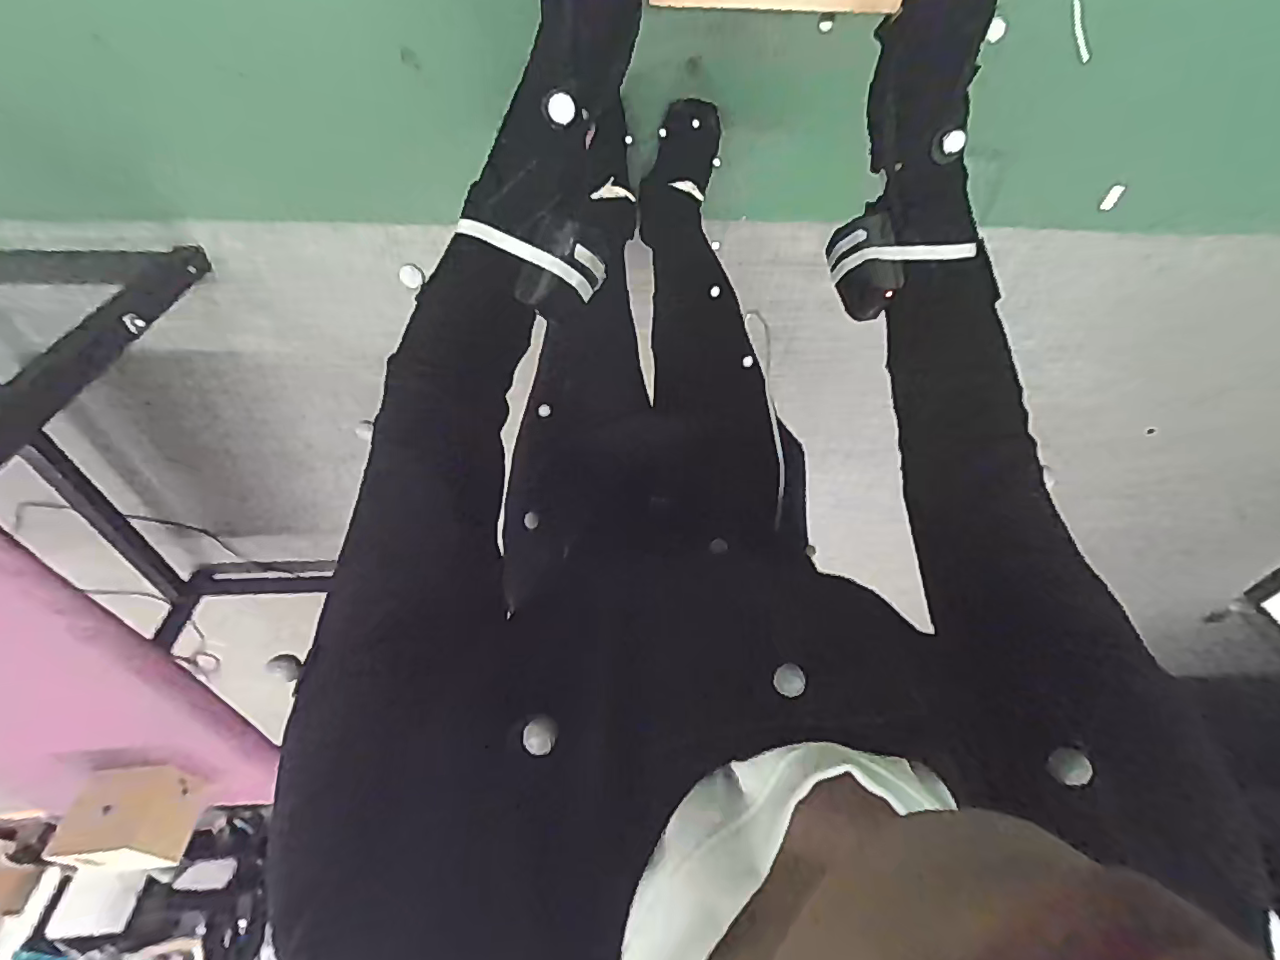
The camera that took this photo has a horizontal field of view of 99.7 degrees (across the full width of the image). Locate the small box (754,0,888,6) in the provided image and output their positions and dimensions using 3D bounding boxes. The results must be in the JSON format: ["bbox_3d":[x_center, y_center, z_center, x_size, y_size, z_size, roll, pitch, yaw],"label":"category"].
[{"bbox_3d":[0.086,-0.439,0.359,0.179,0.176,0.168,-1,140,-3],"label":"small box"}]
